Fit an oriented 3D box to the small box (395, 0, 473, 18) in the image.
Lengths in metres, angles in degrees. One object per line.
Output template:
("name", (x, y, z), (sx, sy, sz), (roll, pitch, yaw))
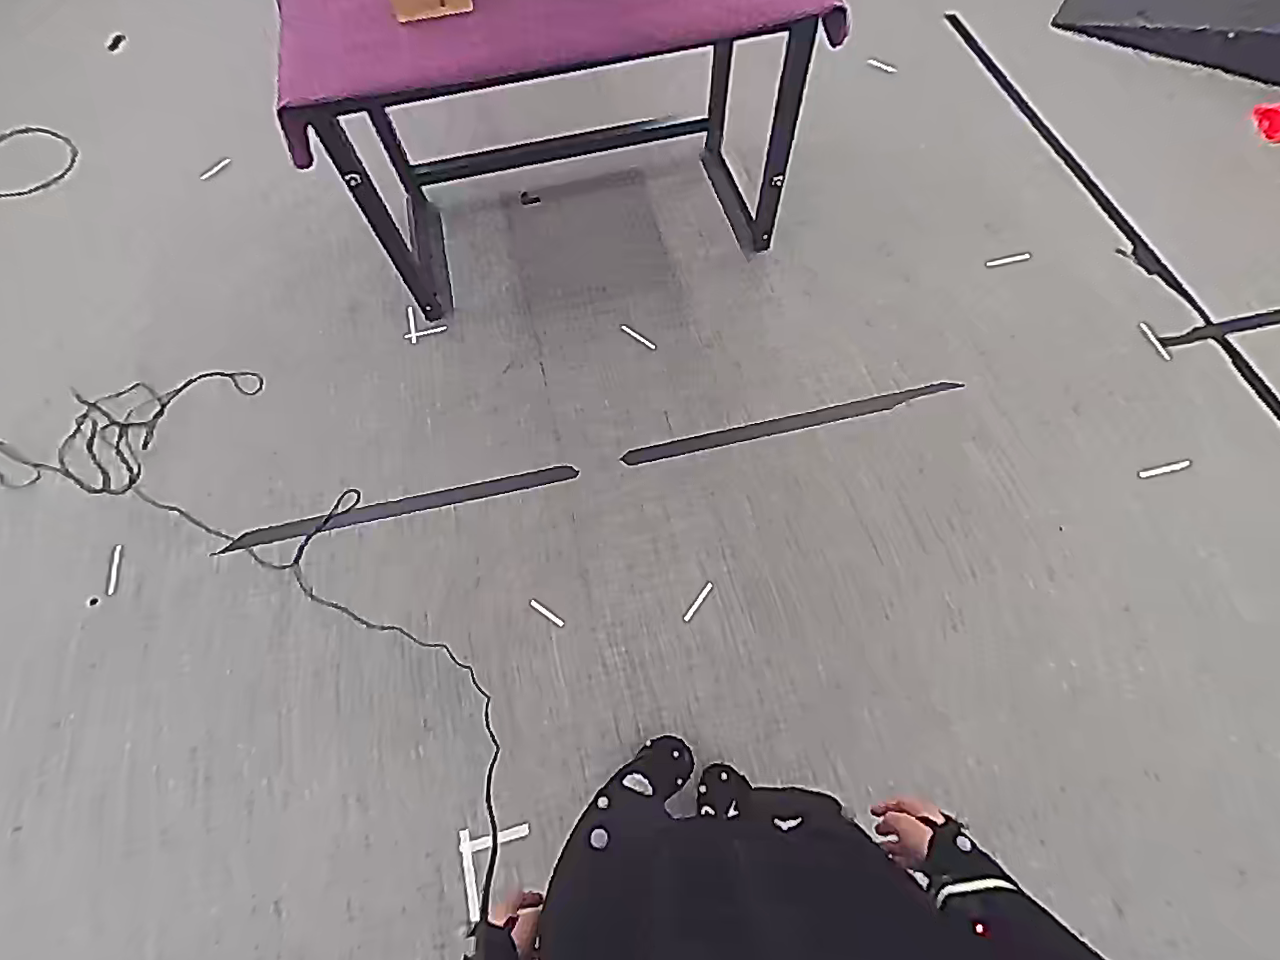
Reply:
("small box", (-0.470, -1.140, 1.169), (0.168, 0.176, 0.179), (-12, 67, -3))
